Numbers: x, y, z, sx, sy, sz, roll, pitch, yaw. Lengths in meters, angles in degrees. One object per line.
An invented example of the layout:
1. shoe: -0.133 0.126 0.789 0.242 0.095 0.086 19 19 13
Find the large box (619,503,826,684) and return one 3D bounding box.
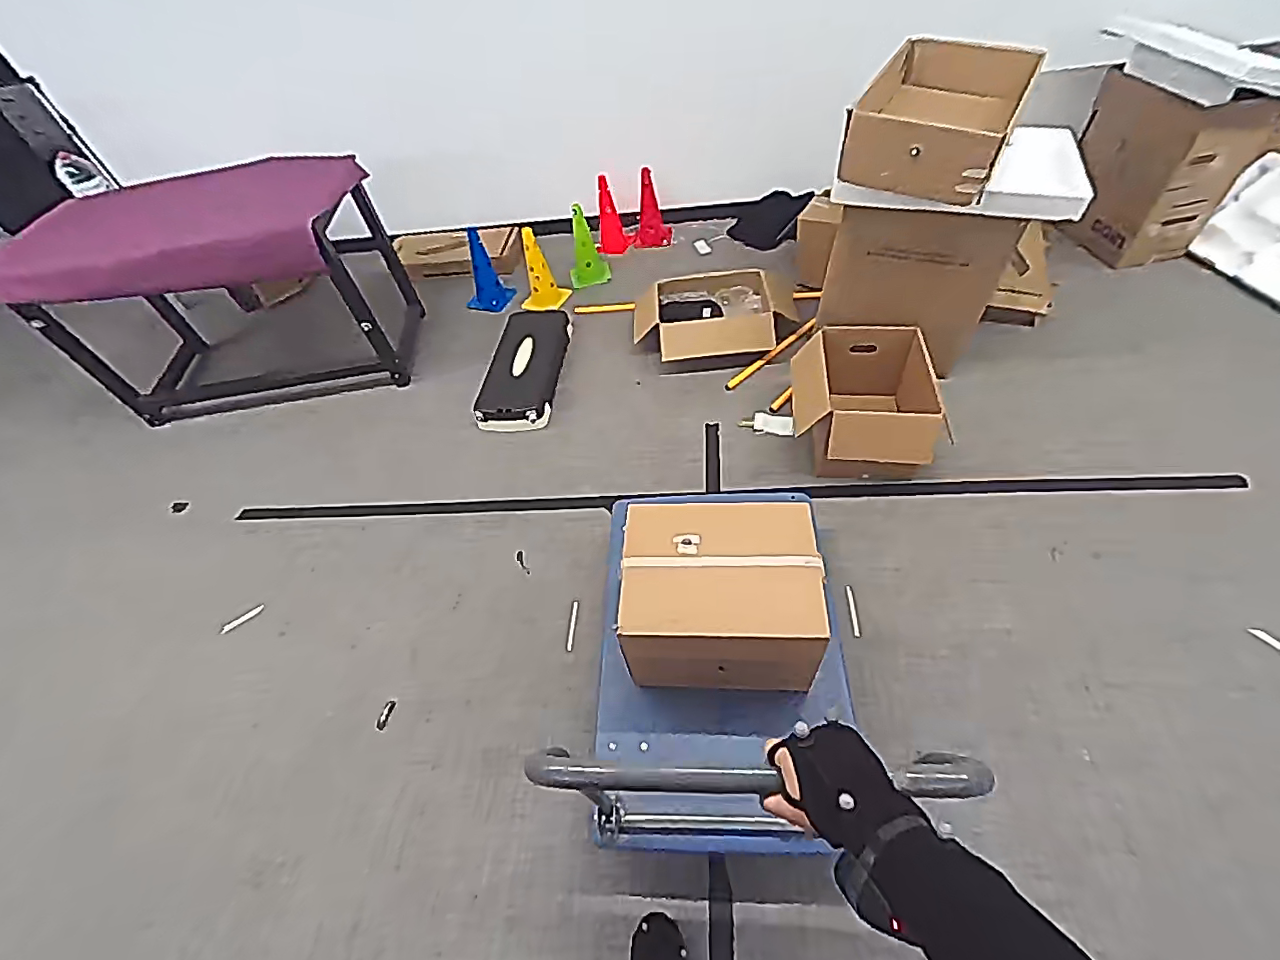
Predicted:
1. large box: 0.181 0.272 1.250 0.408 0.320 0.320 -2 50 7
